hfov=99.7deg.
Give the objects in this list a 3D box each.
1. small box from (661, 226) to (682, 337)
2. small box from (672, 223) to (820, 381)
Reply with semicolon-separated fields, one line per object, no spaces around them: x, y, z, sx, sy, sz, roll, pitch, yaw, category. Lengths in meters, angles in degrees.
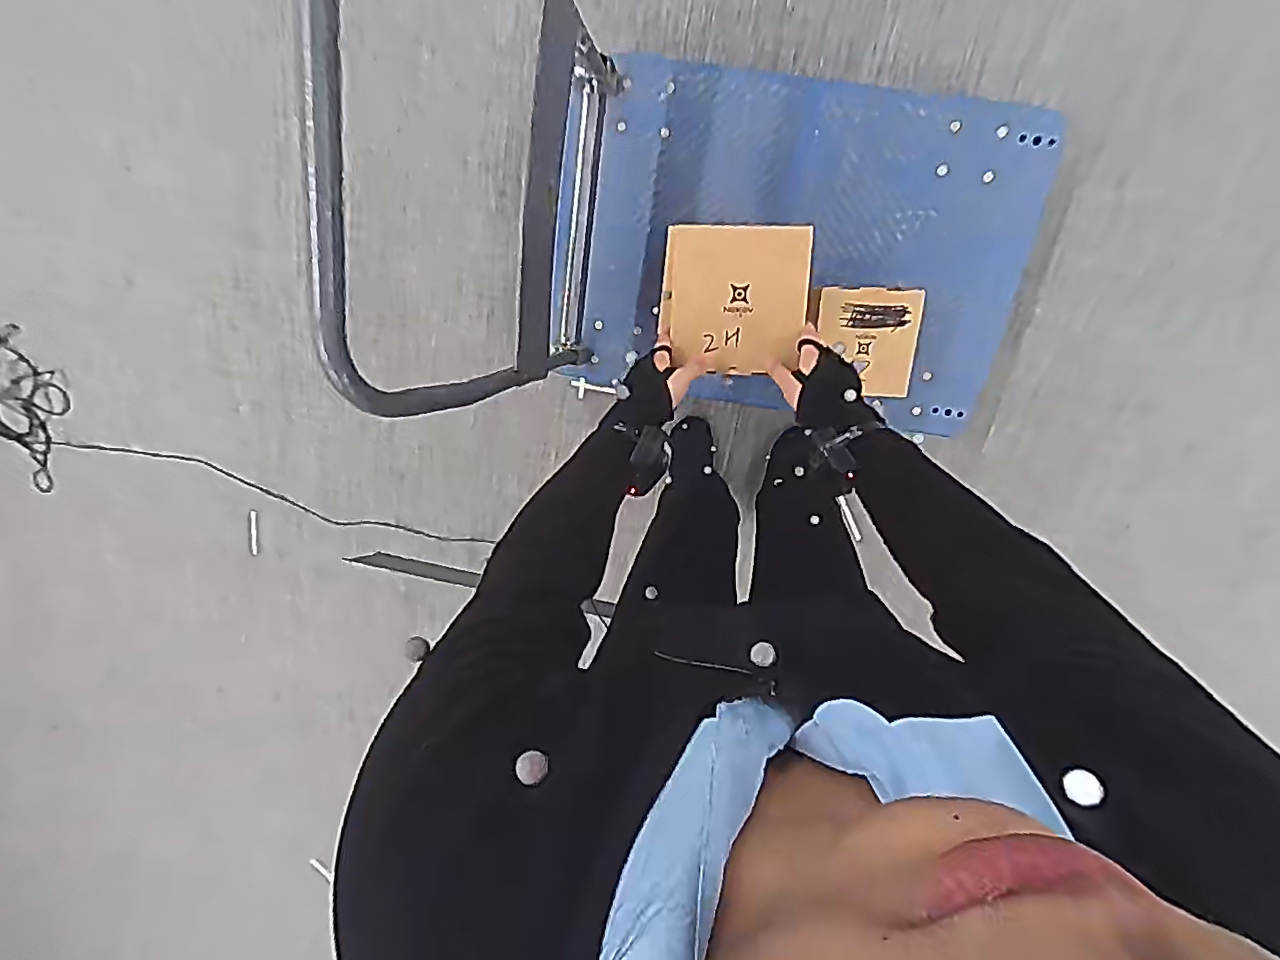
0.129;-0.344;0.974;0.168;0.176;0.179;6;108;3;small box
0.131;-0.226;0.722;0.168;0.176;0.179;3;101;5;small box
